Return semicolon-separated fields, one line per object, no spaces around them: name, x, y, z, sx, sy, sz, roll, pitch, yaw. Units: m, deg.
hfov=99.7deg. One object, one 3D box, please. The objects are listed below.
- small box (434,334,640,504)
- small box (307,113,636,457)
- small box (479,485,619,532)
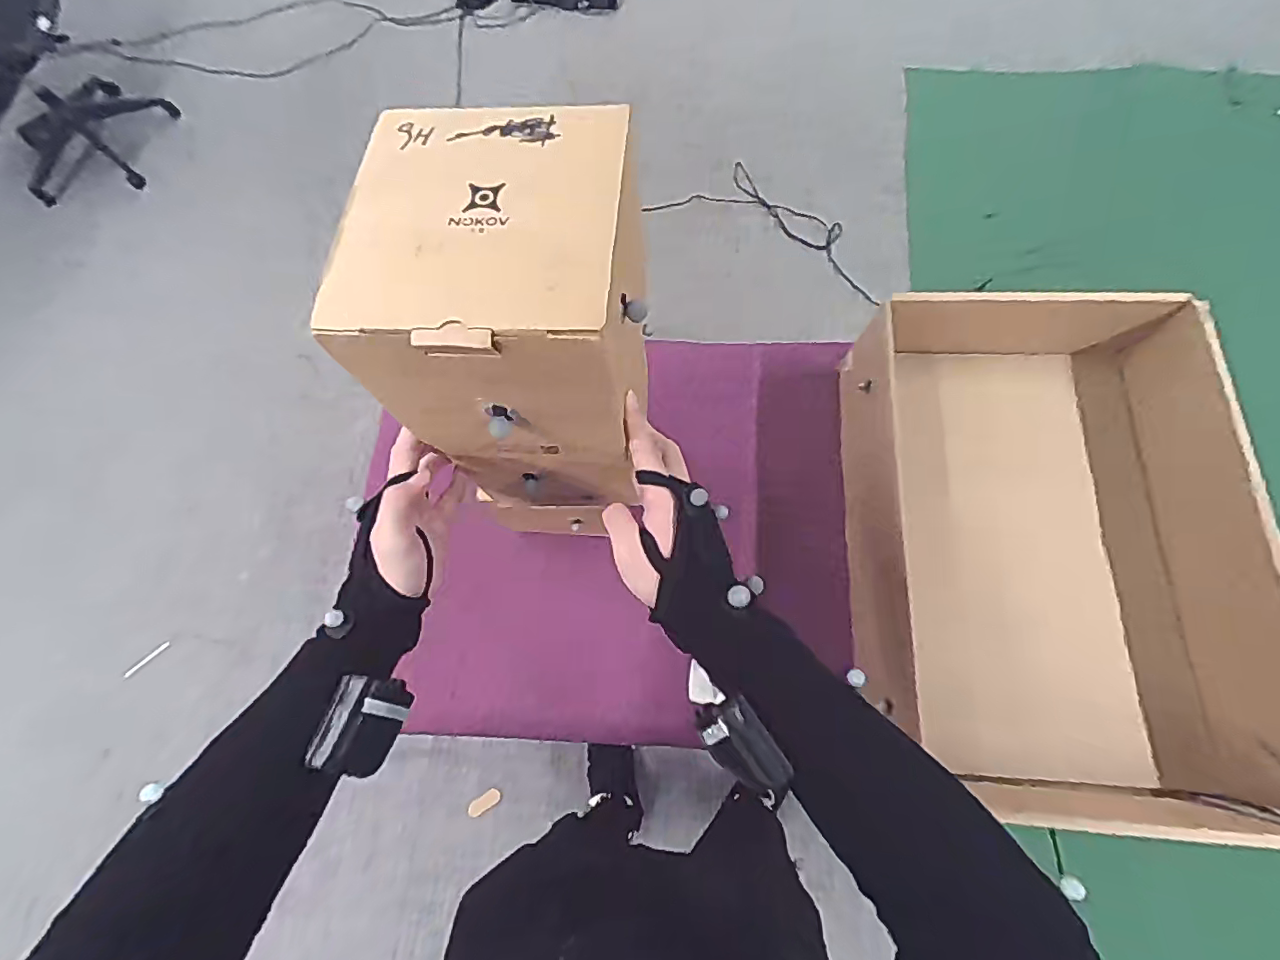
small box;-0.087;-0.078;0.553;0.168;0.176;0.179;-1;69;4
small box;-0.094;-0.126;0.396;0.168;0.176;0.179;3;70;5
small box;-0.115;-0.028;0.785;0.168;0.176;0.179;4;72;4
